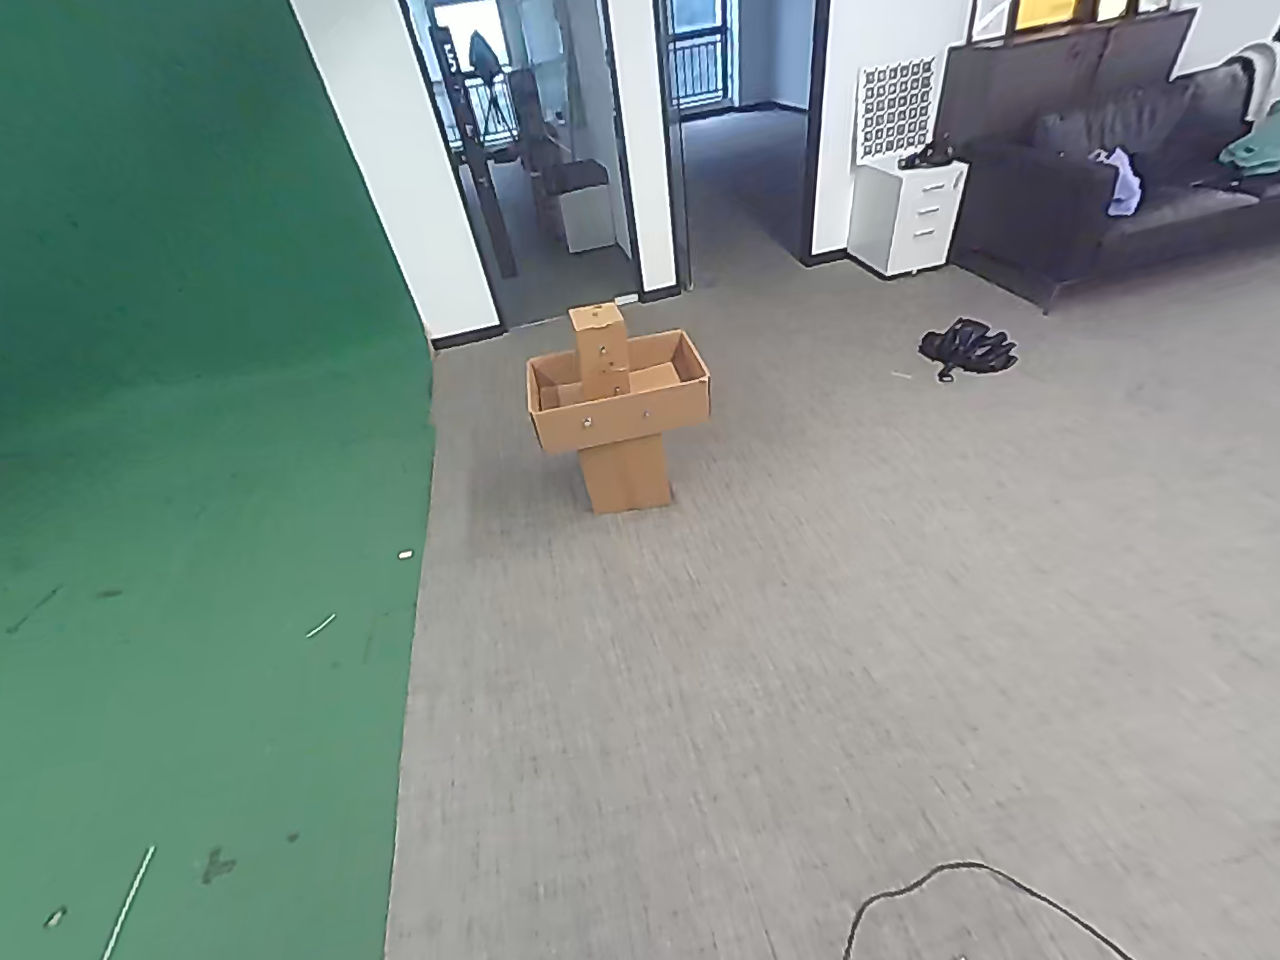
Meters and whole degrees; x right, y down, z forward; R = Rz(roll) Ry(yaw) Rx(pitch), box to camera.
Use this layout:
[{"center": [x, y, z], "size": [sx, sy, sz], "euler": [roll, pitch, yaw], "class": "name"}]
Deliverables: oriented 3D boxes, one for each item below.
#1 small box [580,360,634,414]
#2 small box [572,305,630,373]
[{"center": [-0.120, -0.352, 1.979], "size": [0.168, 0.176, 0.179], "euler": [-10, 38, -5], "class": "small box"}, {"center": [-0.134, -0.483, 1.881], "size": [0.168, 0.176, 0.179], "euler": [-12, 41, -7], "class": "small box"}]
